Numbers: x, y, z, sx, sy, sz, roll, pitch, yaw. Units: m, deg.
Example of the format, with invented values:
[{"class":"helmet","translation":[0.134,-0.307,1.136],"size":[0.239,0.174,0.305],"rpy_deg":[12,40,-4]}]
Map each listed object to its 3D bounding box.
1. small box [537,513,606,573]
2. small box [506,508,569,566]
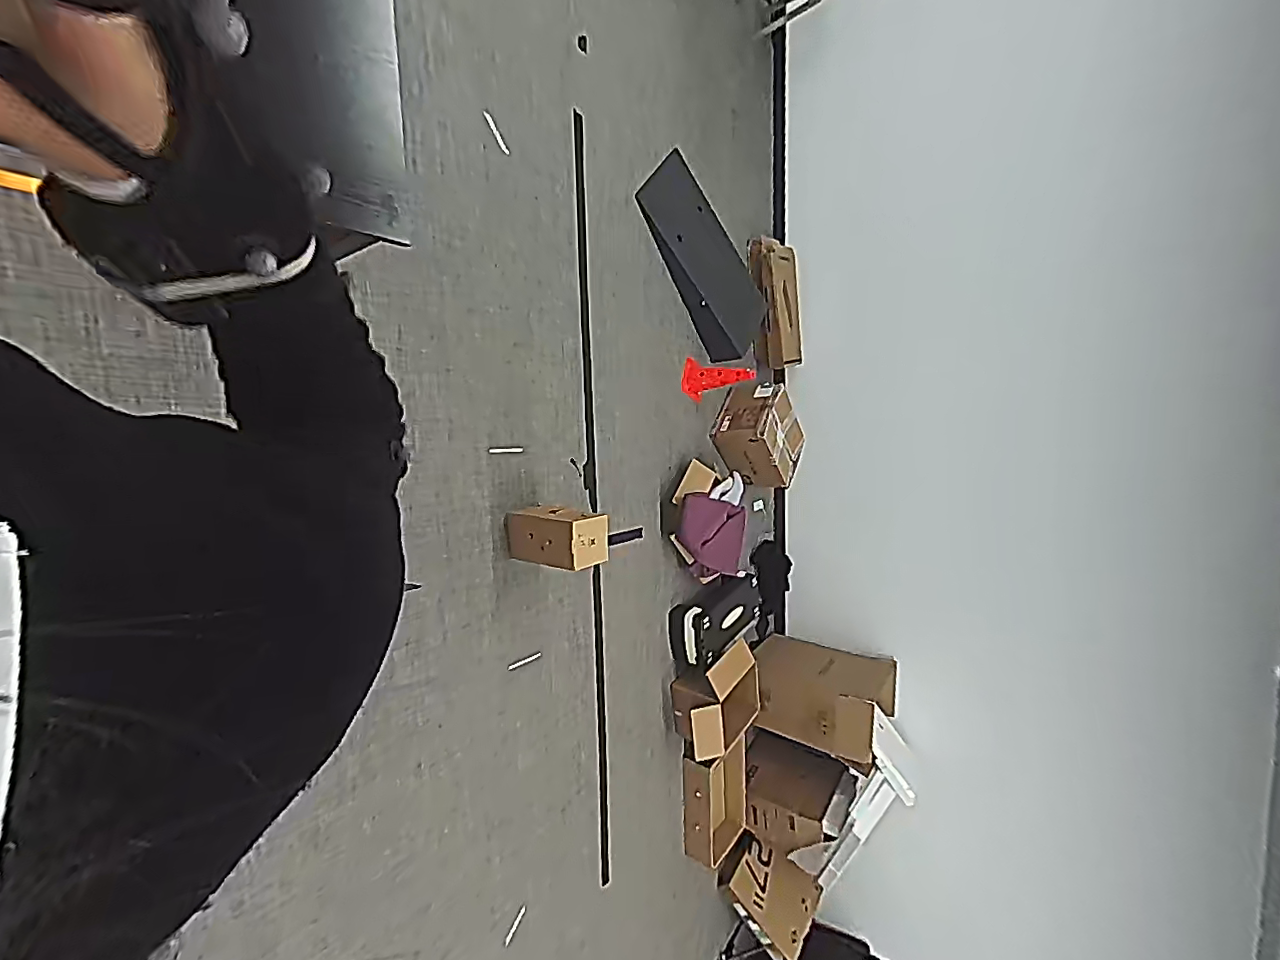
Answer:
[{"class":"small box","translation":[-0.236,0.211,1.863],"size":[0.179,0.176,0.168],"rpy_deg":[-8,98,-52]},{"class":"small box","translation":[-0.368,0.199,1.960],"size":[0.168,0.176,0.179],"rpy_deg":[-14,104,-52]}]
